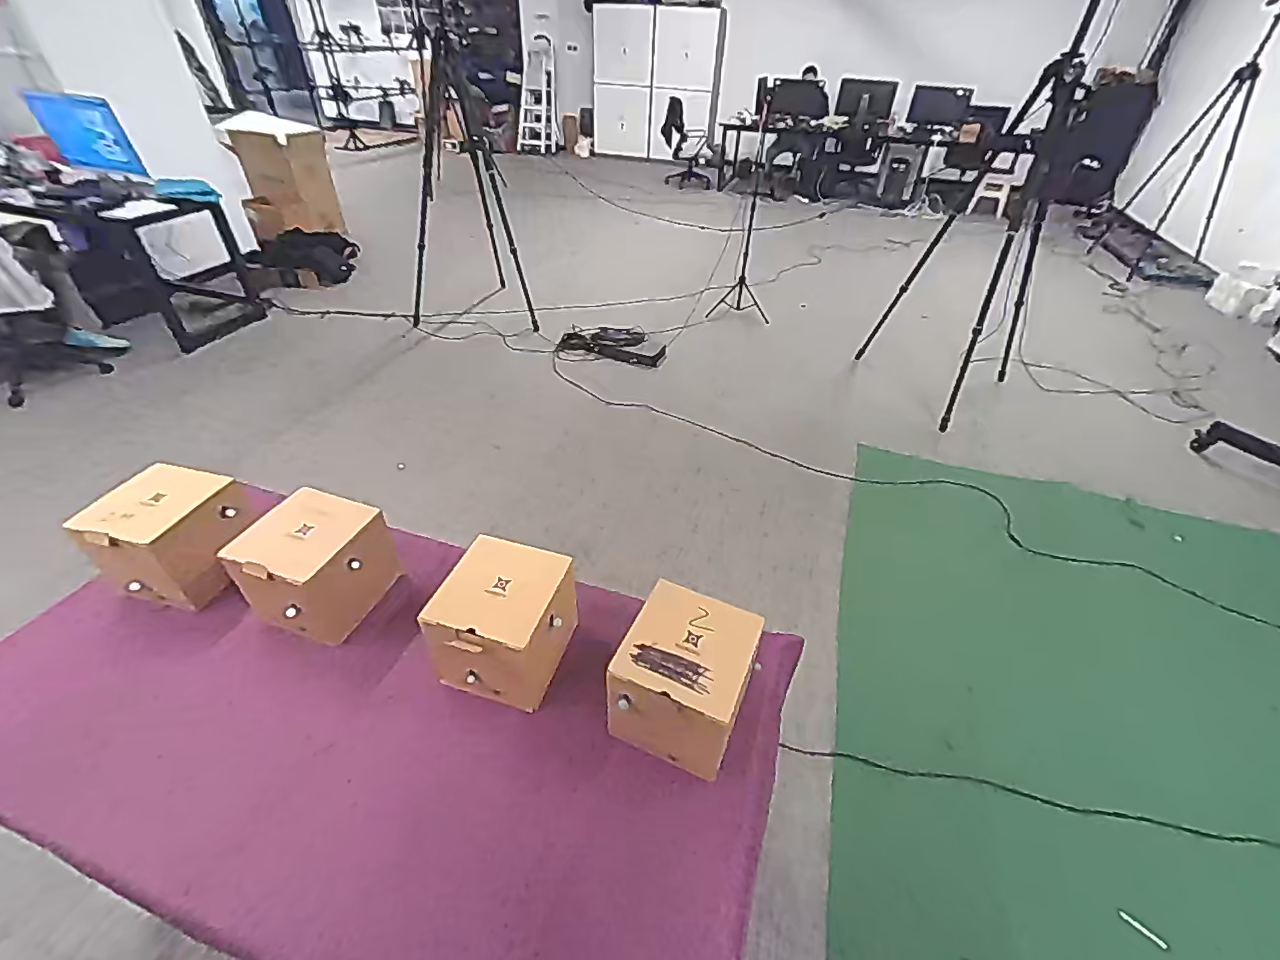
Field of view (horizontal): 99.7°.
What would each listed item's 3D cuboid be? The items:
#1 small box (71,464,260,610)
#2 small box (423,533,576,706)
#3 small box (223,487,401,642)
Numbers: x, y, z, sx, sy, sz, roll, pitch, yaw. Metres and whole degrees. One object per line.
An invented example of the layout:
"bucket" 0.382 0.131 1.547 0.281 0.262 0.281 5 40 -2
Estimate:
"small box" -0.815 0.099 0.964 0.168 0.176 0.179 10 40 9
"small box" -0.206 0.217 0.850 0.168 0.176 0.179 12 41 12
"small box" -0.540 0.145 0.923 0.168 0.176 0.179 14 41 13
